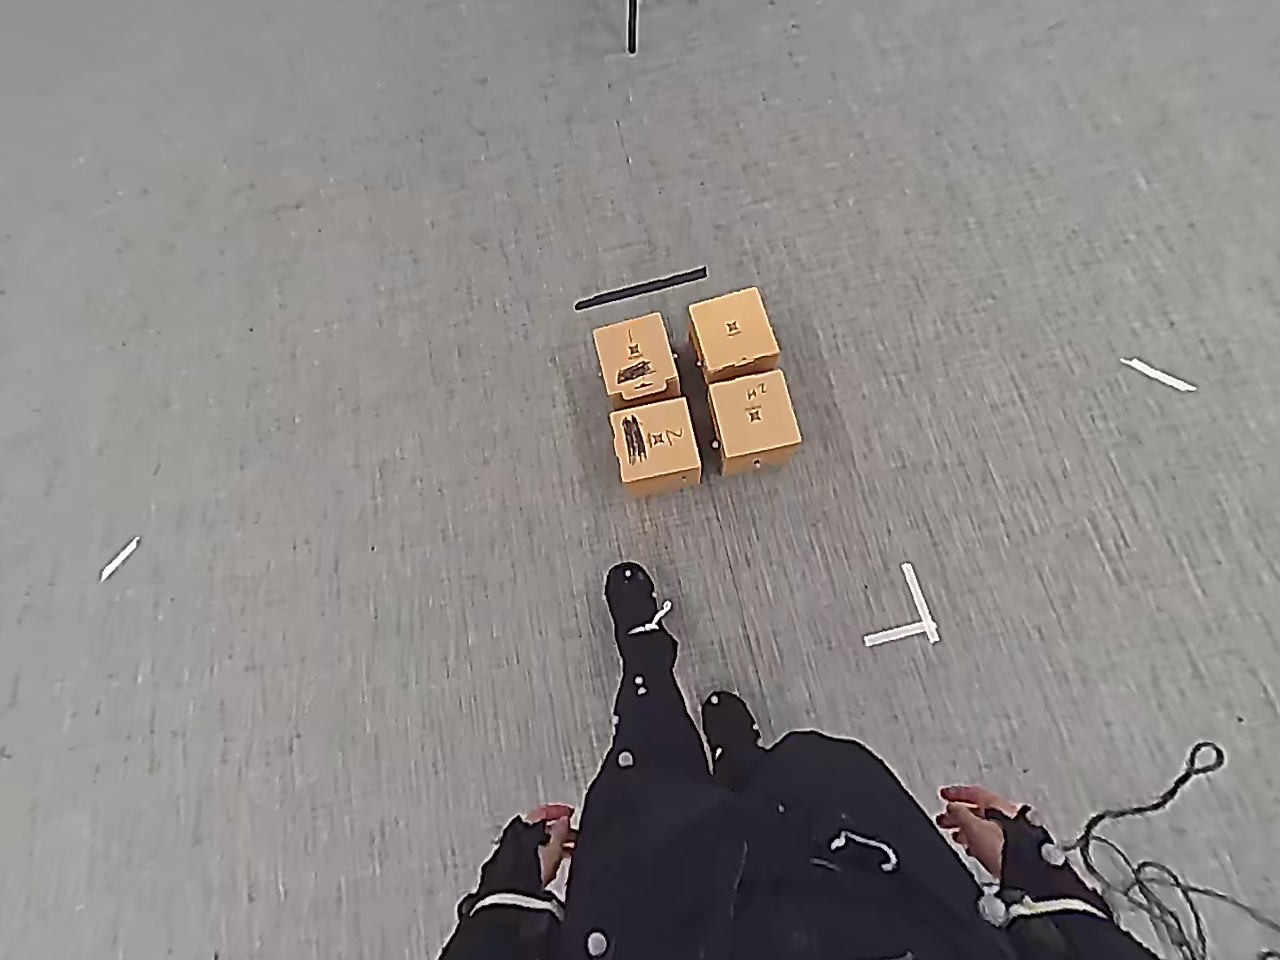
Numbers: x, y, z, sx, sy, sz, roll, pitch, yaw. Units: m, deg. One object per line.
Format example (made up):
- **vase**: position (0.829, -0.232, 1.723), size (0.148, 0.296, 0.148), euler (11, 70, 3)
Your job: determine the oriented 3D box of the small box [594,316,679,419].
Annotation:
- **small box**: position (-0.003, -0.261, 1.305), size (0.168, 0.176, 0.179), euler (-13, 73, 2)
